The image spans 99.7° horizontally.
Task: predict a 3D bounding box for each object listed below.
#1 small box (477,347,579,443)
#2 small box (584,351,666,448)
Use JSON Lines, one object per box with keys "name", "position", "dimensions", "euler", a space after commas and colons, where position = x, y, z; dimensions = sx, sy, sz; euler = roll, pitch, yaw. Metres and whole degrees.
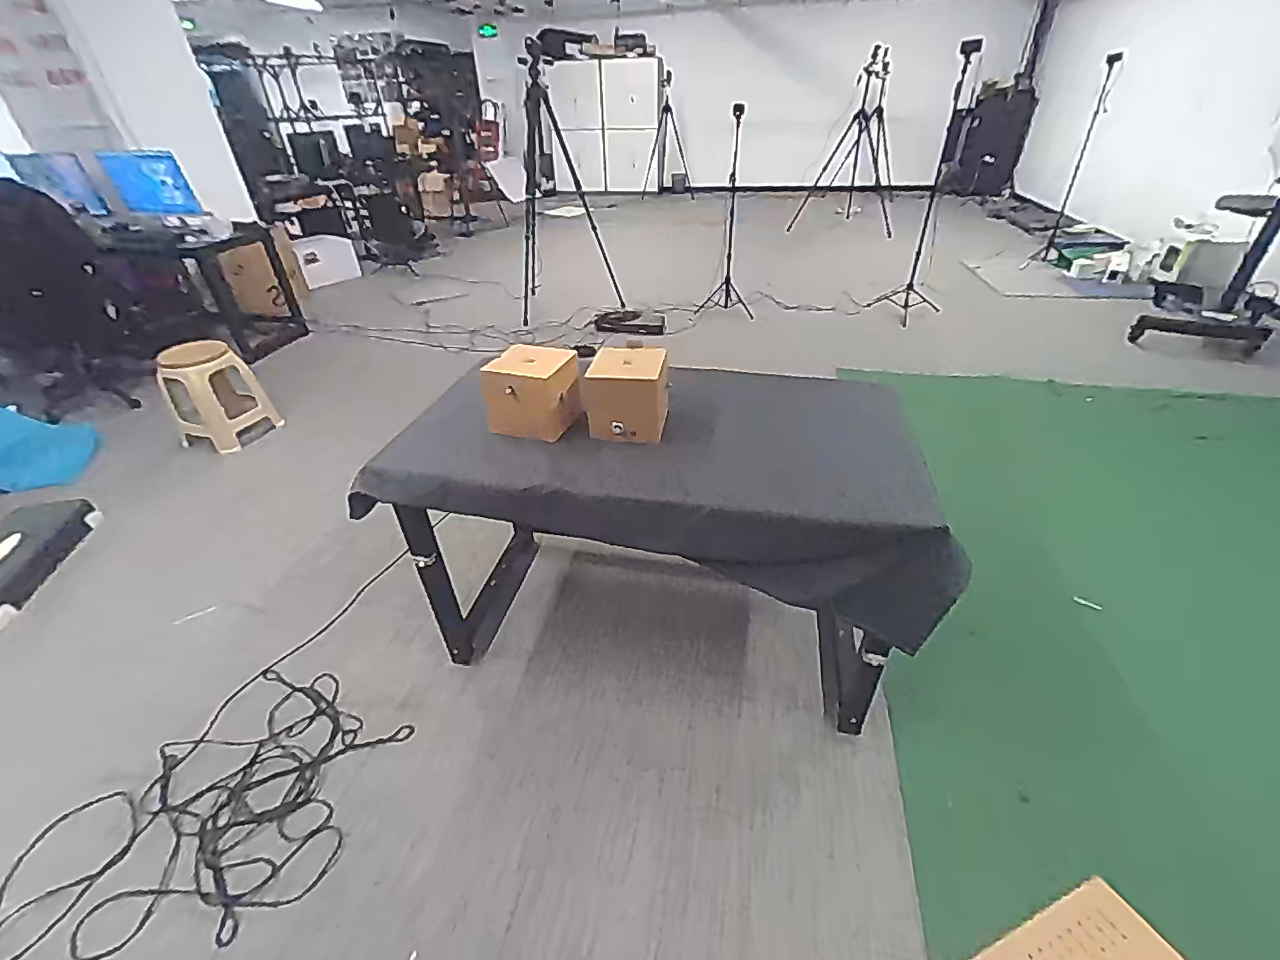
{"name": "small box", "position": [-0.259, -0.204, 1.301], "dimensions": [0.179, 0.176, 0.168], "euler": [10, 36, 16]}
{"name": "small box", "position": [-0.030, -0.194, 1.281], "dimensions": [0.168, 0.176, 0.179], "euler": [3, 35, 8]}
